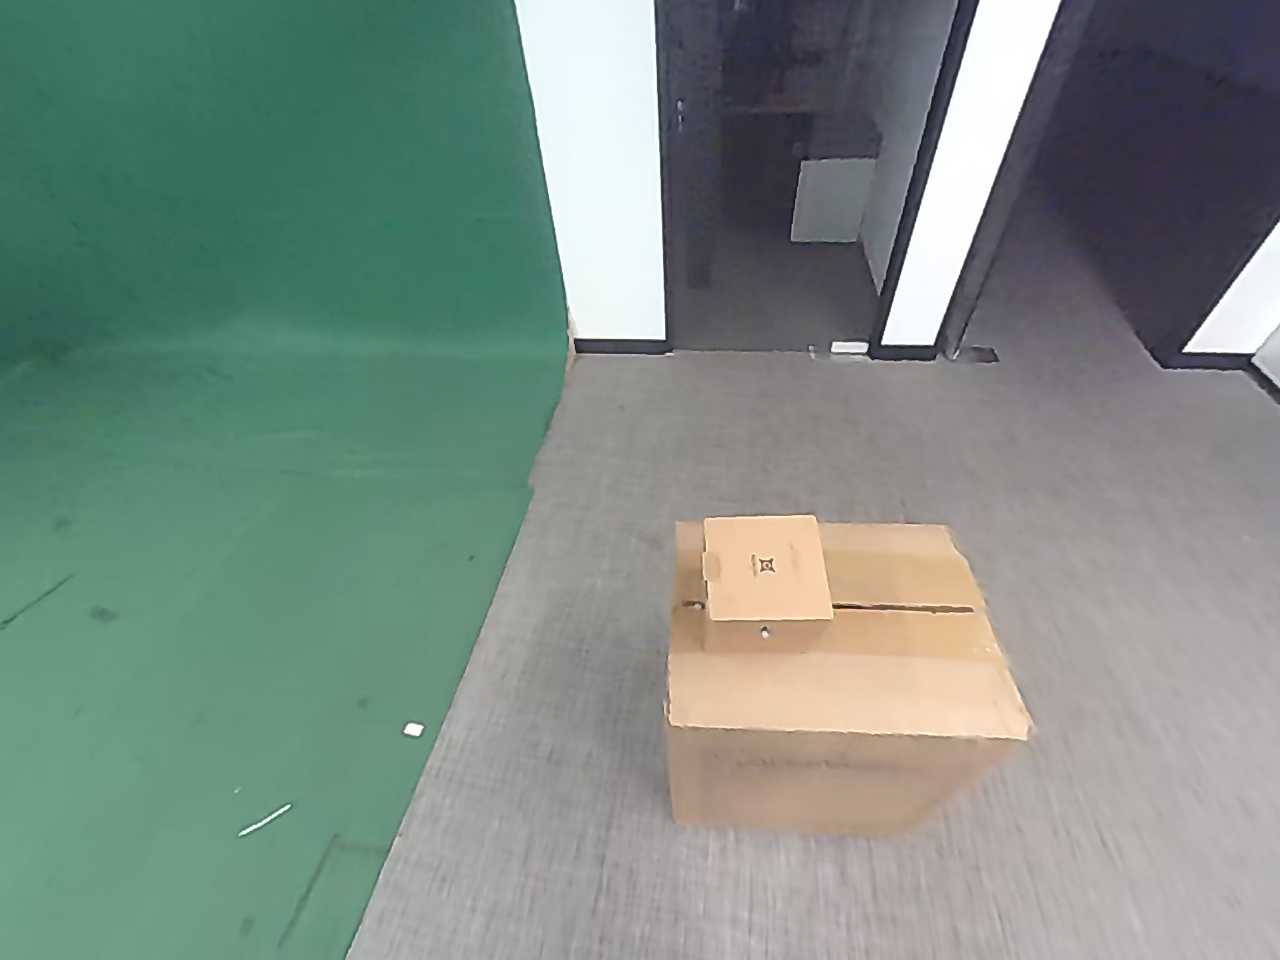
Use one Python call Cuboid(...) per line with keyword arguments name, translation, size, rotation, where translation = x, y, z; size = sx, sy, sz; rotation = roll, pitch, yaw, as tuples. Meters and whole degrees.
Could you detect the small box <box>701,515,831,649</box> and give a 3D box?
Cuboid(name="small box", translation=(0.188, 0.168, 0.867), size=(0.179, 0.176, 0.168), rotation=(-1, 58, 3))
